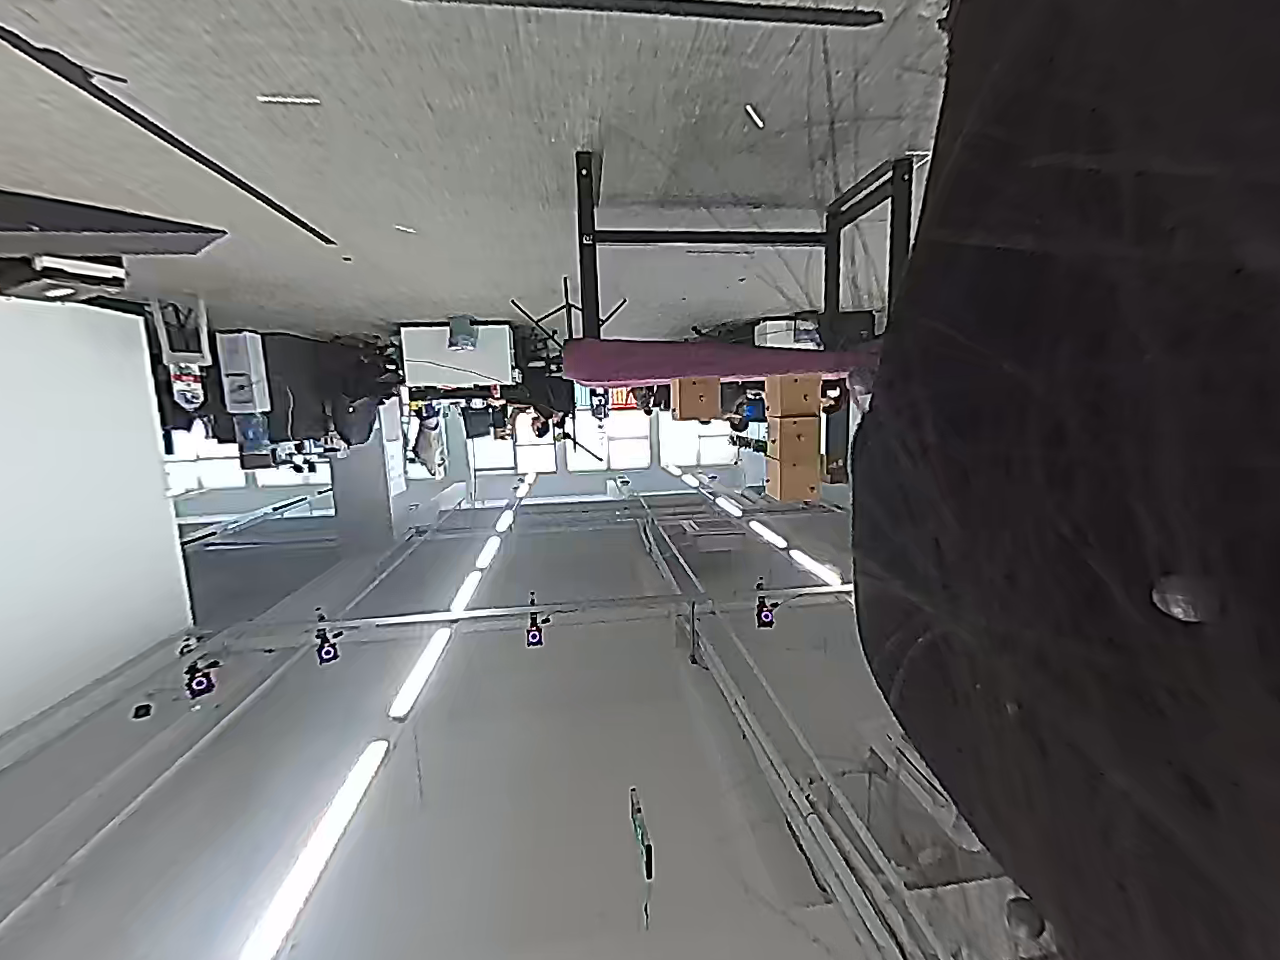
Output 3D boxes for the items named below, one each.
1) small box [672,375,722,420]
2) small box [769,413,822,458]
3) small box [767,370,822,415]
[{"bbox_3d":[0.224,-0.330,2.152,0.168,0.176,0.179,-3,-171,-7],"label":"small box"},{"bbox_3d":[0.619,-0.184,2.164,0.168,0.176,0.179,-2,-171,-2],"label":"small box"},{"bbox_3d":[0.614,-0.349,2.160,0.168,0.176,0.179,-3,-171,-6],"label":"small box"}]
